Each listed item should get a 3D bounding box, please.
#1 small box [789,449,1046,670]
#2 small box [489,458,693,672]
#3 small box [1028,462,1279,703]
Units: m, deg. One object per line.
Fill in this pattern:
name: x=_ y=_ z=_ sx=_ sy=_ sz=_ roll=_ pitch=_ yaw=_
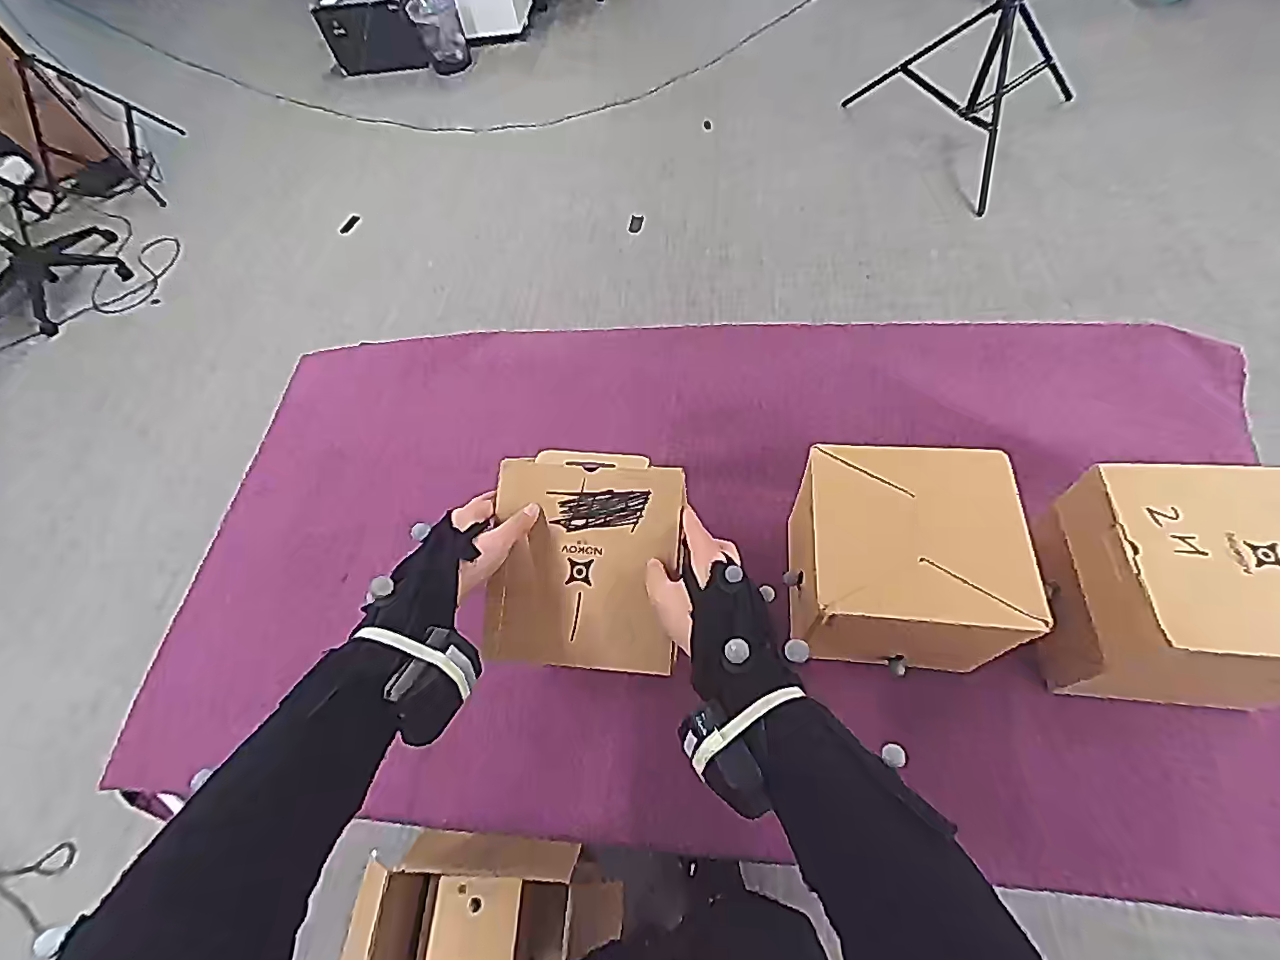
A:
small box: x=0.251 y=0.081 z=0.540 sx=0.179 sy=0.176 sz=0.168 roll=2 pitch=59 yaw=10
small box: x=-0.034 y=0.086 z=0.549 sx=0.168 sy=0.176 sz=0.179 roll=3 pitch=78 yaw=7
small box: x=0.492 y=0.100 z=0.497 sx=0.179 sy=0.176 sz=0.168 roll=2 pitch=58 yaw=9
